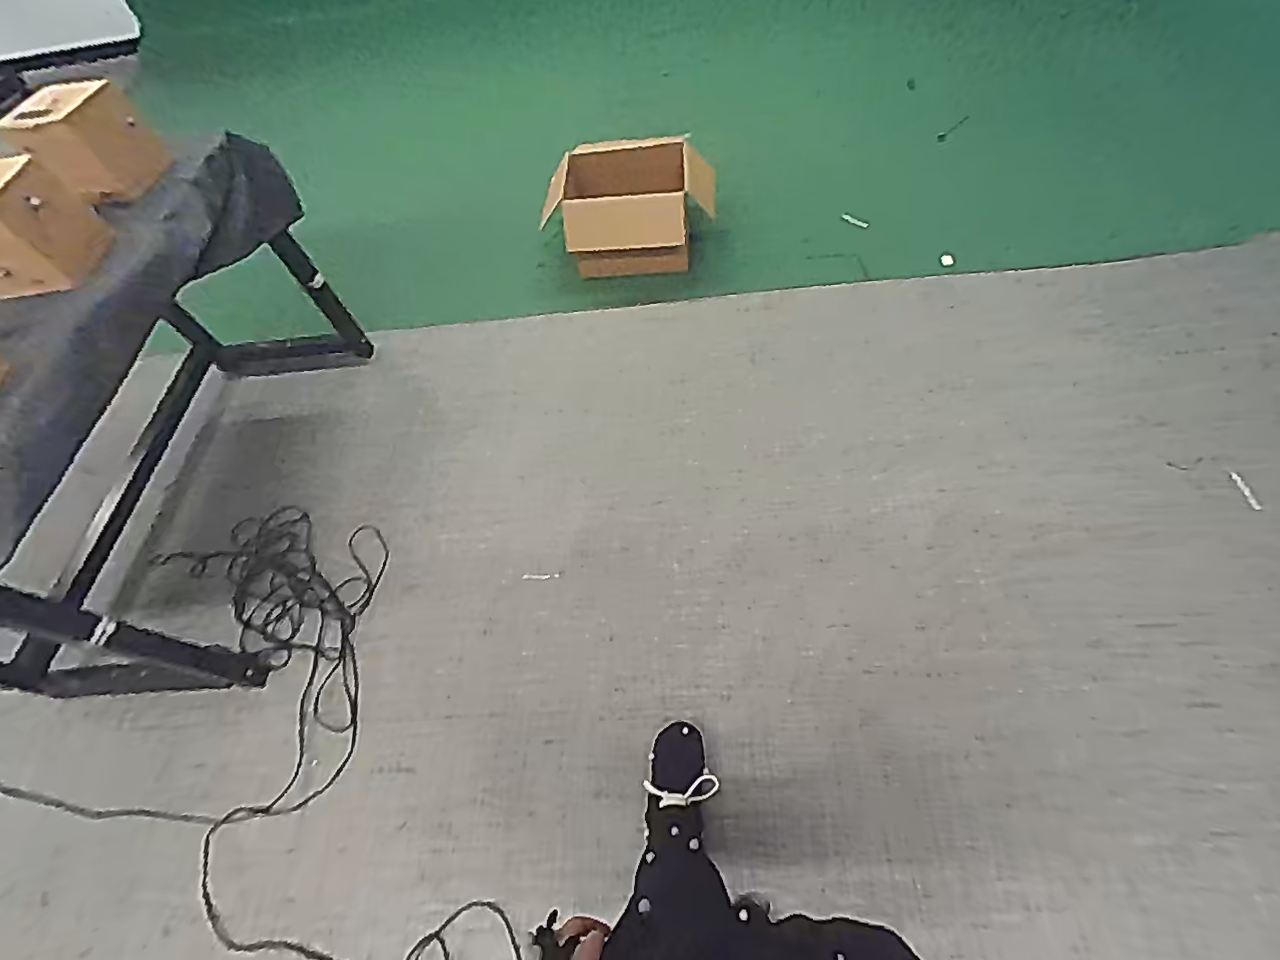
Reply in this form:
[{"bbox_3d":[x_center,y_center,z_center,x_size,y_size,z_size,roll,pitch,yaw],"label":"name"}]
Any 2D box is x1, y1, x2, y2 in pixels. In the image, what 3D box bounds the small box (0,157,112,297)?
[{"bbox_3d":[-1.183,-0.479,1.033,0.168,0.176,0.179,-6,59,3],"label":"small box"}]
